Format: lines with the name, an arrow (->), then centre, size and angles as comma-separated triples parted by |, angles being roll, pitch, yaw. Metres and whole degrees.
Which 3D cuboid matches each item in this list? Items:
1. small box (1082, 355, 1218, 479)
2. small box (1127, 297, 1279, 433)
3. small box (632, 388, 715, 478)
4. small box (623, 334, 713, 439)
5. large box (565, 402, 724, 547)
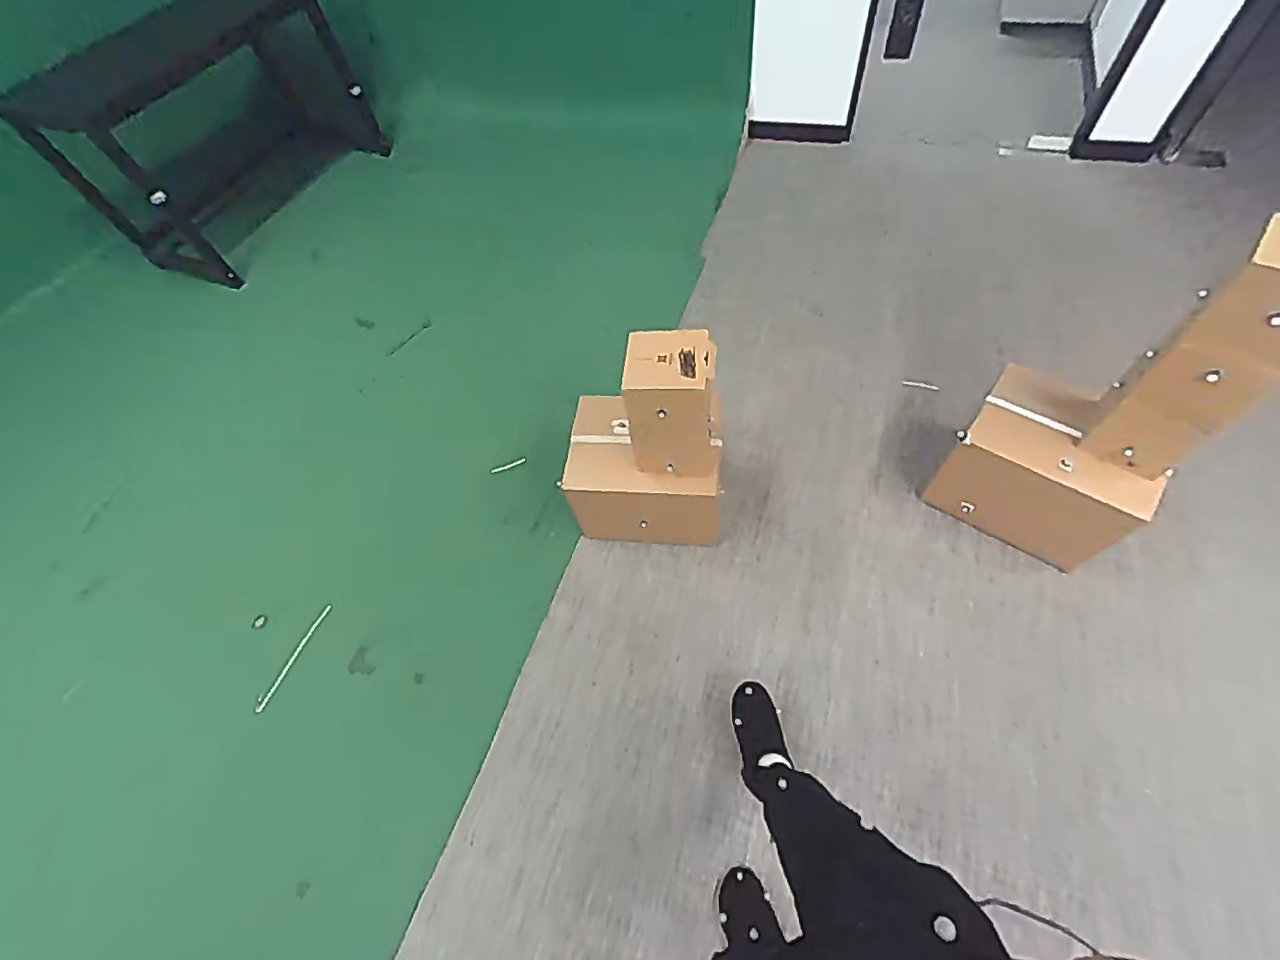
small box -> 1.140, -0.137, 1.204 | 0.168, 0.176, 0.179 | 32, 66, 24
small box -> 1.130, -0.219, 1.064 | 0.179, 0.176, 0.168 | 34, 67, 25
small box -> 0.088, -0.119, 1.333 | 0.179, 0.176, 0.168 | 6, 60, 11
small box -> 0.069, -0.203, 1.192 | 0.179, 0.176, 0.168 | 1, 59, 10
large box -> 0.036, -0.010, 1.563 | 0.408, 0.320, 0.320 | 1, 58, 10
